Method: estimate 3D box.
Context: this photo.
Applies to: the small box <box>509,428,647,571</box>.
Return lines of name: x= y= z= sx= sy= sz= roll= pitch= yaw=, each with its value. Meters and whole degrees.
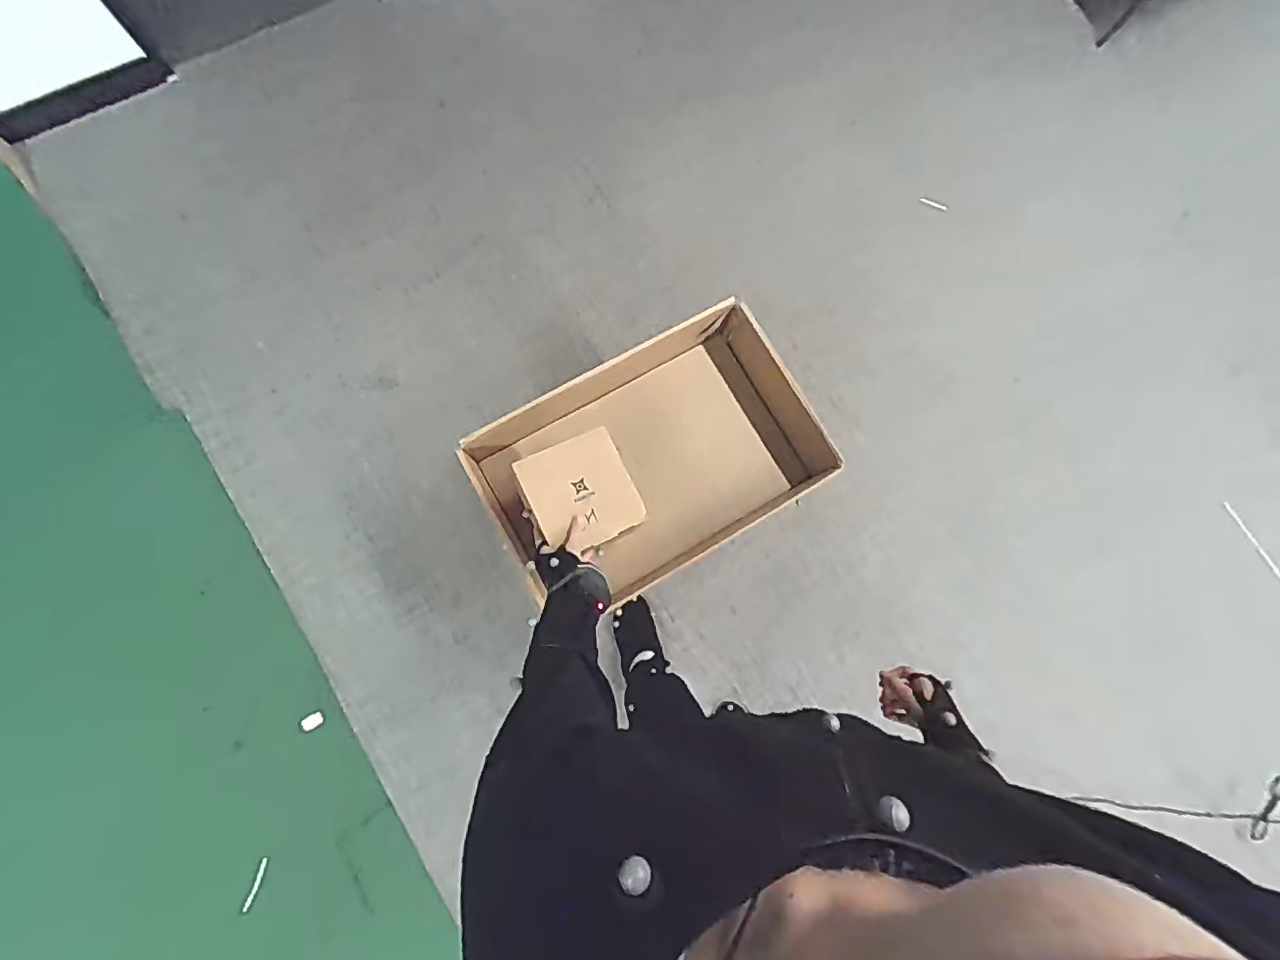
small box: x=-0.110 y=0.041 z=0.919 sx=0.168 sy=0.176 sz=0.179 roll=-25 pitch=82 yaw=-14
